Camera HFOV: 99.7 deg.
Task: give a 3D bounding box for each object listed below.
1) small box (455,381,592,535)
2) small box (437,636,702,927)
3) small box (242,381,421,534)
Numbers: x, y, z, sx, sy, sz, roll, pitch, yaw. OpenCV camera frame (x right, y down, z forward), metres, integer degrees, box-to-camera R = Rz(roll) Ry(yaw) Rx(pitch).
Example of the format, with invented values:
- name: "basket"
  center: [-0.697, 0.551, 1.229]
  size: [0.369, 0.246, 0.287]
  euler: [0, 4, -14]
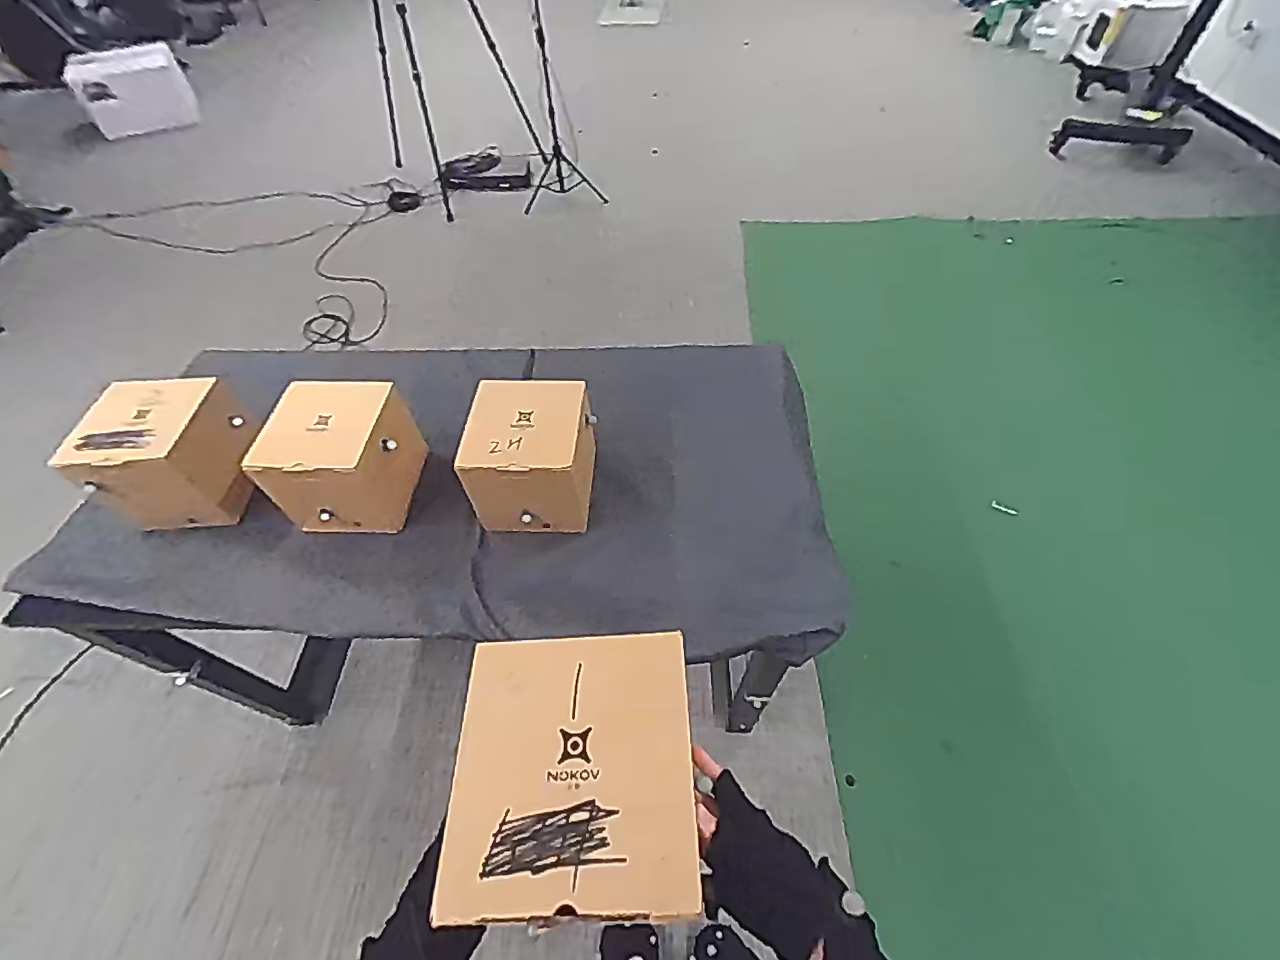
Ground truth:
- name: "small box"
  center: [-0.168, -0.033, 0.847]
  size: [0.168, 0.176, 0.179]
  euler: [1, 53, 2]
- name: "small box"
  center: [-0.037, 0.242, 0.435]
  size: [0.168, 0.176, 0.179]
  euler: [-3, 52, 3]
- name: "small box"
  center: [-0.466, -0.035, 0.855]
  size: [0.168, 0.176, 0.179]
  euler: [1, 54, 1]
